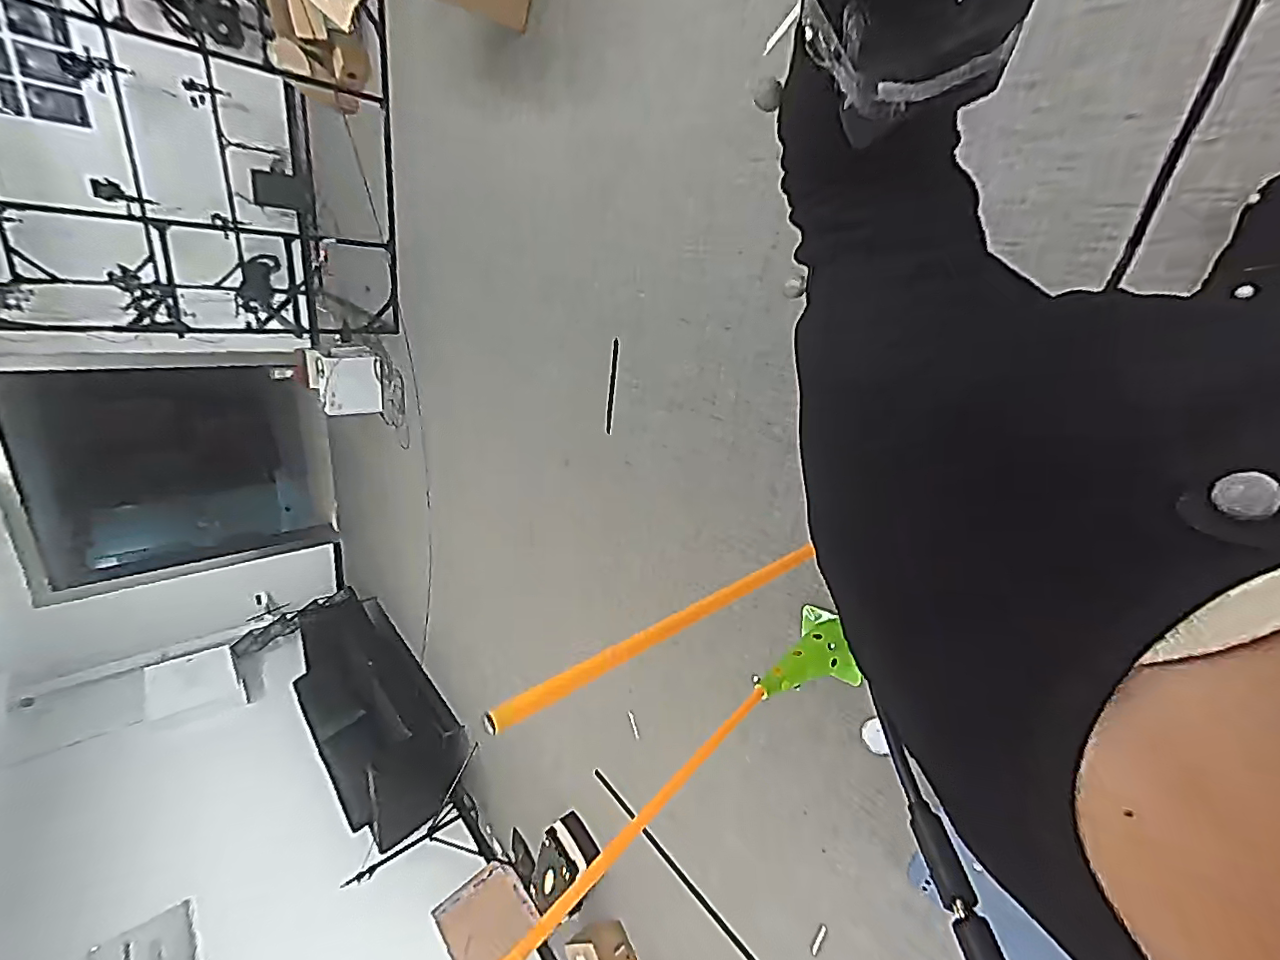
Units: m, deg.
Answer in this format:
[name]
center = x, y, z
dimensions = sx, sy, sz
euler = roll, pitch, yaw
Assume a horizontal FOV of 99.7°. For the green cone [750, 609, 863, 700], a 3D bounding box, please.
[green cone]
center = 0.434, 0.523, 1.494
dimensions = 0.200, 0.368, 0.202
euler = 12, 107, 47
